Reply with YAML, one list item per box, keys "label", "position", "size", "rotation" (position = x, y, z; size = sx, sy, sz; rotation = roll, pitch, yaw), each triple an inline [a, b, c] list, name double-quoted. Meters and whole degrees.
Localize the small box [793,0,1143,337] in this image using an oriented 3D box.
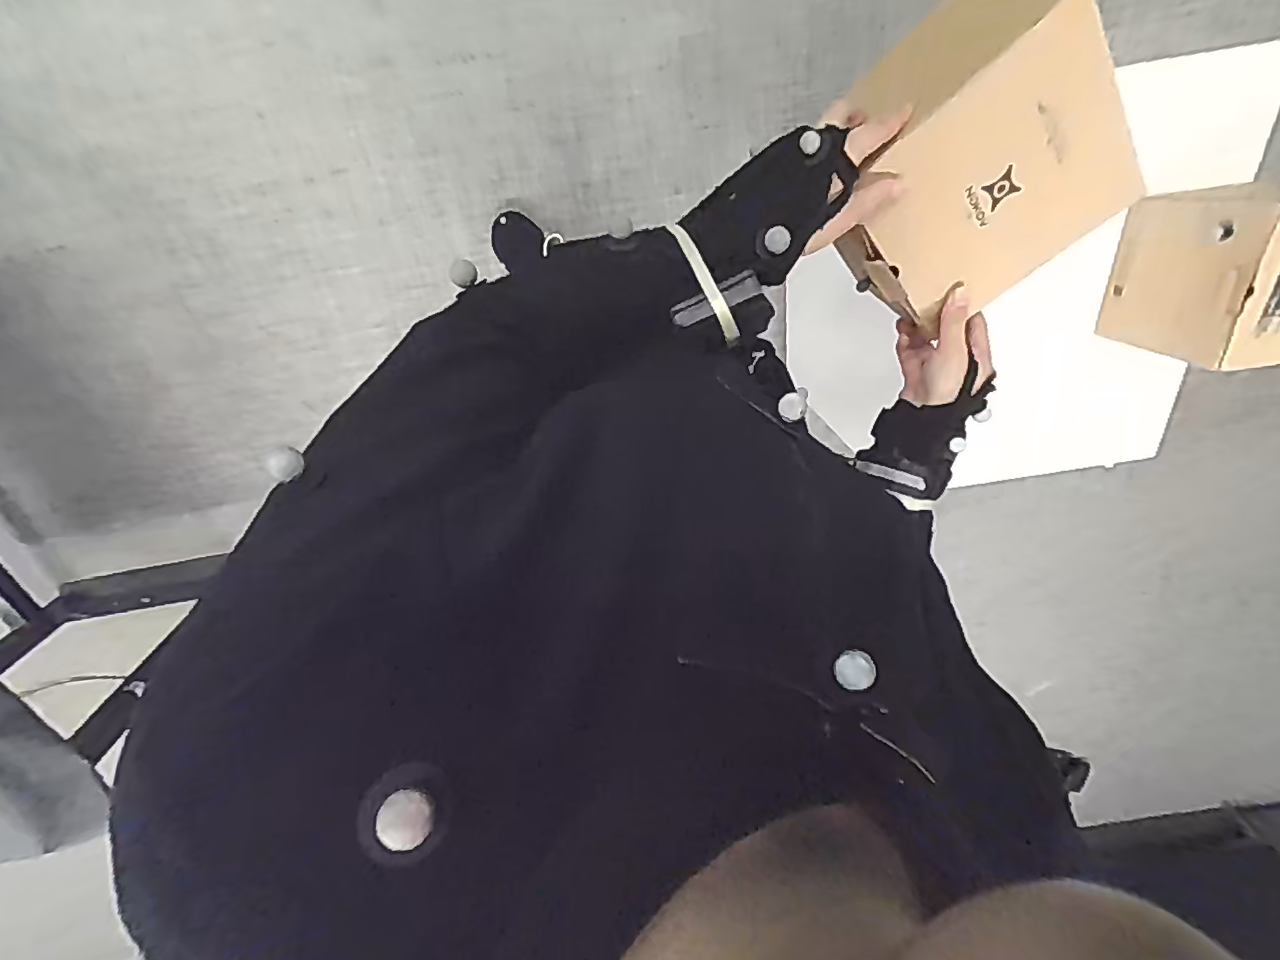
- label: "small box"
  position: [0.251, -0.262, 0.458]
  size: [0.179, 0.176, 0.168]
  rotation: [-39, 121, 21]
